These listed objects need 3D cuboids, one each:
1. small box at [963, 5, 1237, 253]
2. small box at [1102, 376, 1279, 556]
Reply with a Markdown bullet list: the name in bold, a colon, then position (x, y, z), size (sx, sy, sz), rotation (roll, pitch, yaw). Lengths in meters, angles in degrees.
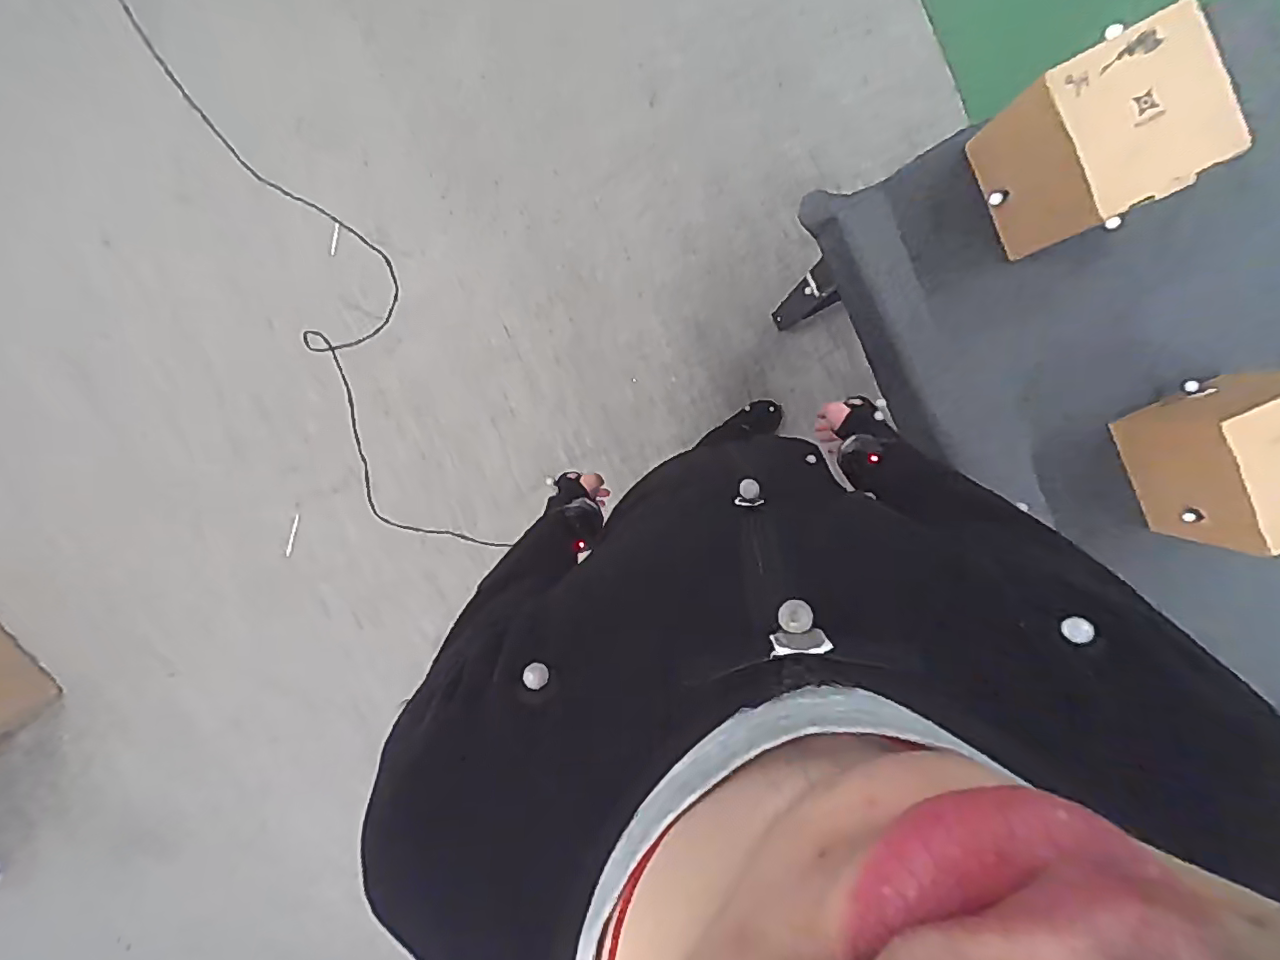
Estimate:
- **small box**: position (0.545, -0.404, 0.667), size (0.168, 0.176, 0.179), rotation (-26, 96, 4)
- **small box**: position (0.769, -0.028, 0.703), size (0.168, 0.176, 0.179), rotation (-26, 94, 4)
